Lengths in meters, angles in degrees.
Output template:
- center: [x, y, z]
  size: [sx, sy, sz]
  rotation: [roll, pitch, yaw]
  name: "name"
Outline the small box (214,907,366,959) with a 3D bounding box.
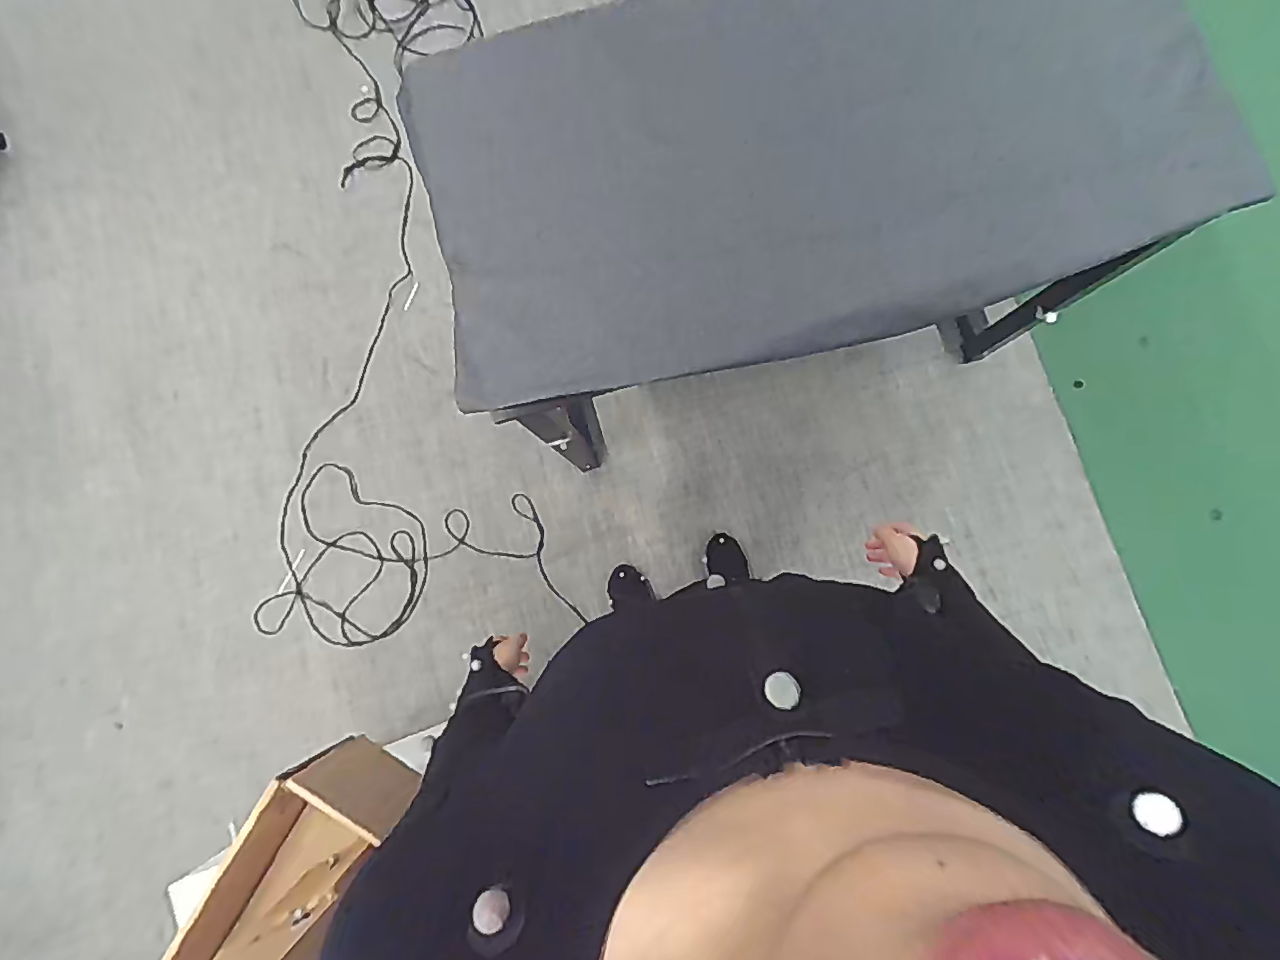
- center: [-0.415, 0.620, 0.590]
  size: [0.168, 0.176, 0.179]
  rotation: [-26, 86, 1]
  name: "small box"
